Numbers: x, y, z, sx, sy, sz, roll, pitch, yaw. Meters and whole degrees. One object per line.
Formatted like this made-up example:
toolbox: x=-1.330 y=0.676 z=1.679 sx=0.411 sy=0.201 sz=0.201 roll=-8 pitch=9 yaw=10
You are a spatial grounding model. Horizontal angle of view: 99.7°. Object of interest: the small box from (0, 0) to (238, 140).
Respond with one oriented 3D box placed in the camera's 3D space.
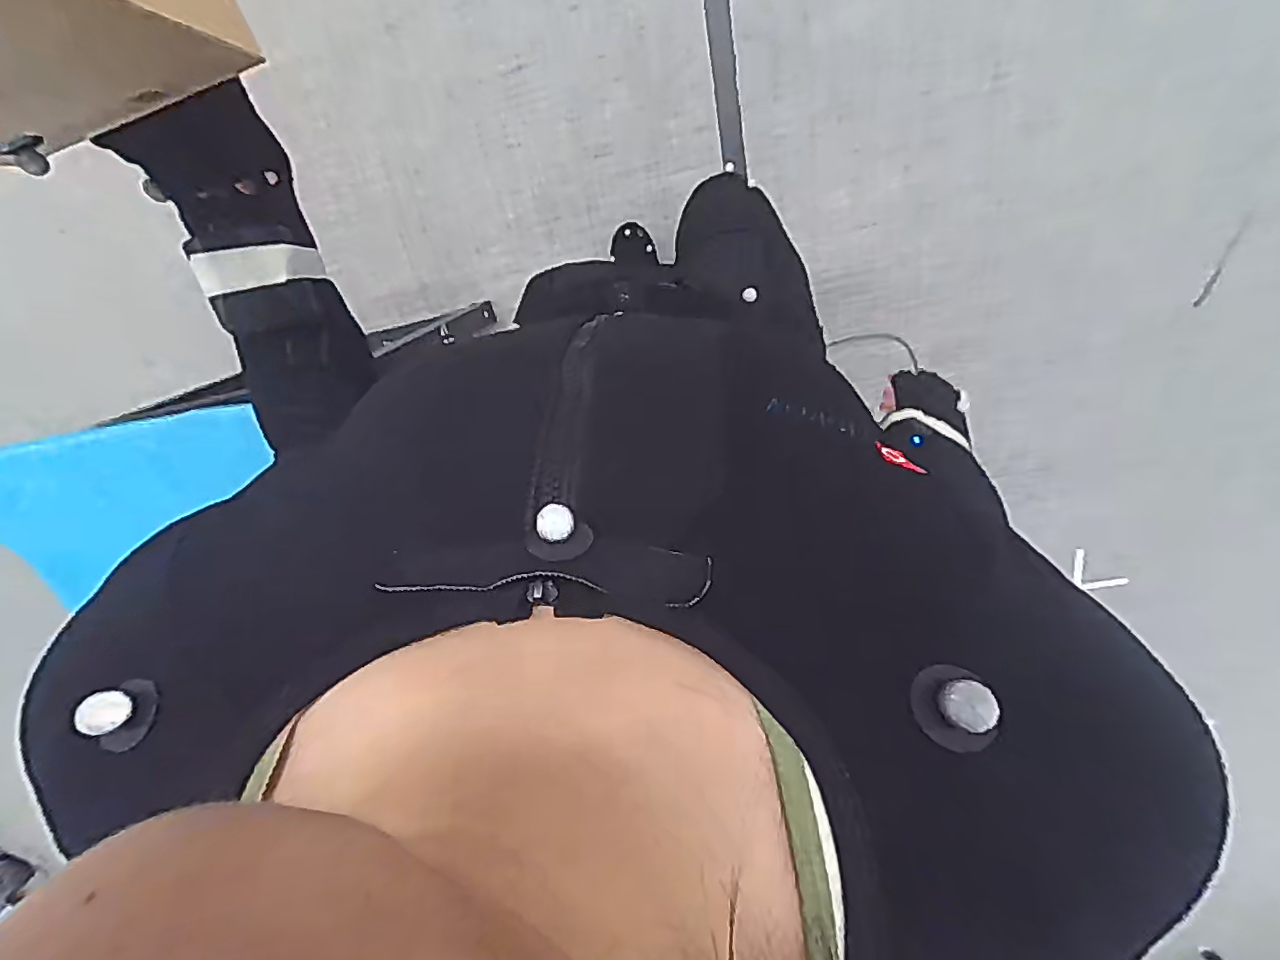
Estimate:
small box: x=-0.309 y=-0.245 z=0.196 sx=0.168 sy=0.176 sz=0.179 roll=-18 pitch=117 yaw=6
